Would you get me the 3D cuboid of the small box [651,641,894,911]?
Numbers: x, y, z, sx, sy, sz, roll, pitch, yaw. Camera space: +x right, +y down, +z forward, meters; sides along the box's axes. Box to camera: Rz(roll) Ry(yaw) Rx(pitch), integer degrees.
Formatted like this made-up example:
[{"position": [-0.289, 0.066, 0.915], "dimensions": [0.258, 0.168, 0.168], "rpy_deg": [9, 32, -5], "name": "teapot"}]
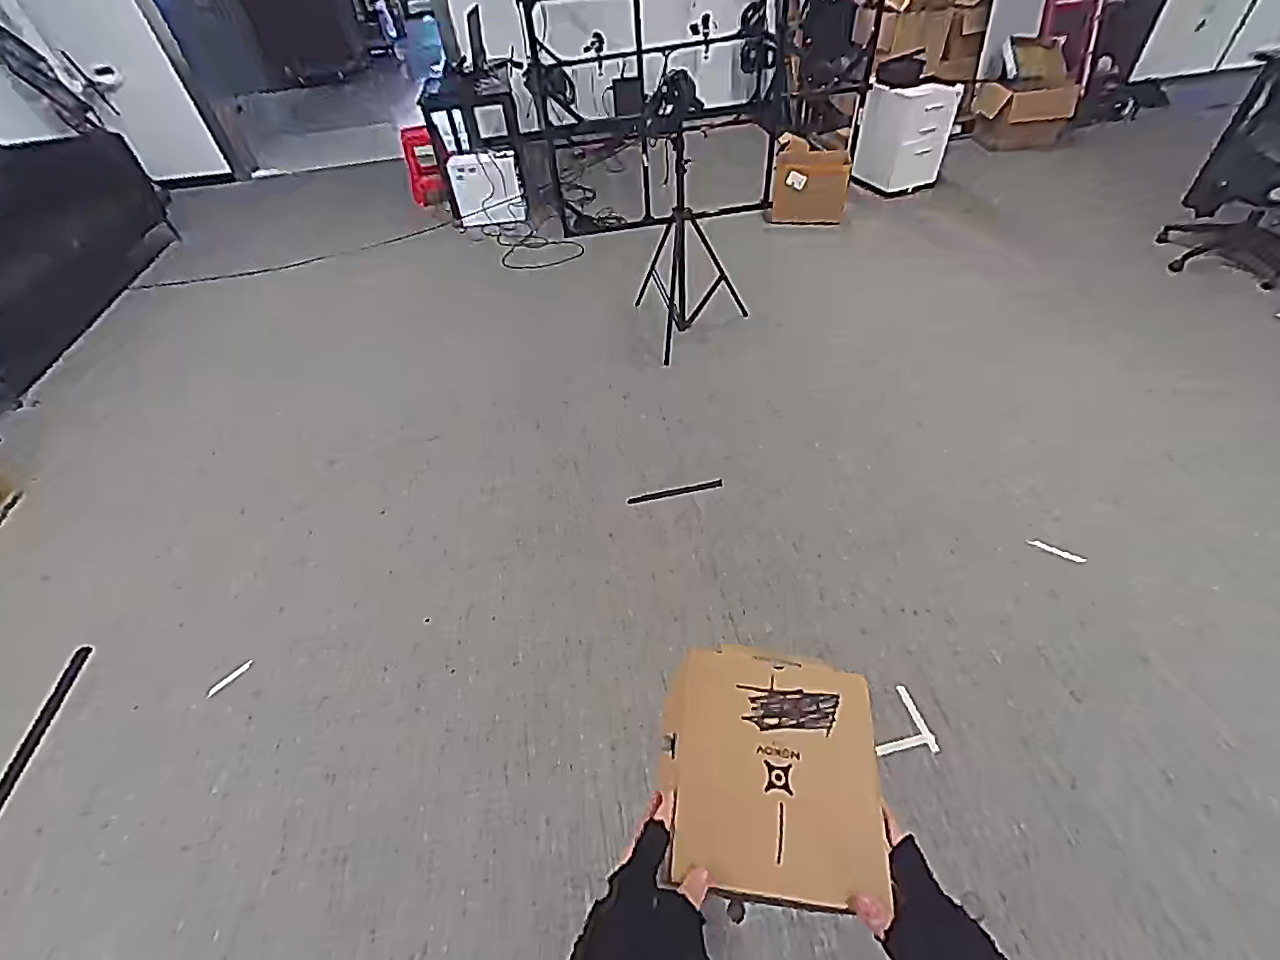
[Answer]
[{"position": [0.106, 0.276, 0.502], "dimensions": [0.168, 0.176, 0.179], "rpy_deg": [9, 52, 1], "name": "small box"}]
